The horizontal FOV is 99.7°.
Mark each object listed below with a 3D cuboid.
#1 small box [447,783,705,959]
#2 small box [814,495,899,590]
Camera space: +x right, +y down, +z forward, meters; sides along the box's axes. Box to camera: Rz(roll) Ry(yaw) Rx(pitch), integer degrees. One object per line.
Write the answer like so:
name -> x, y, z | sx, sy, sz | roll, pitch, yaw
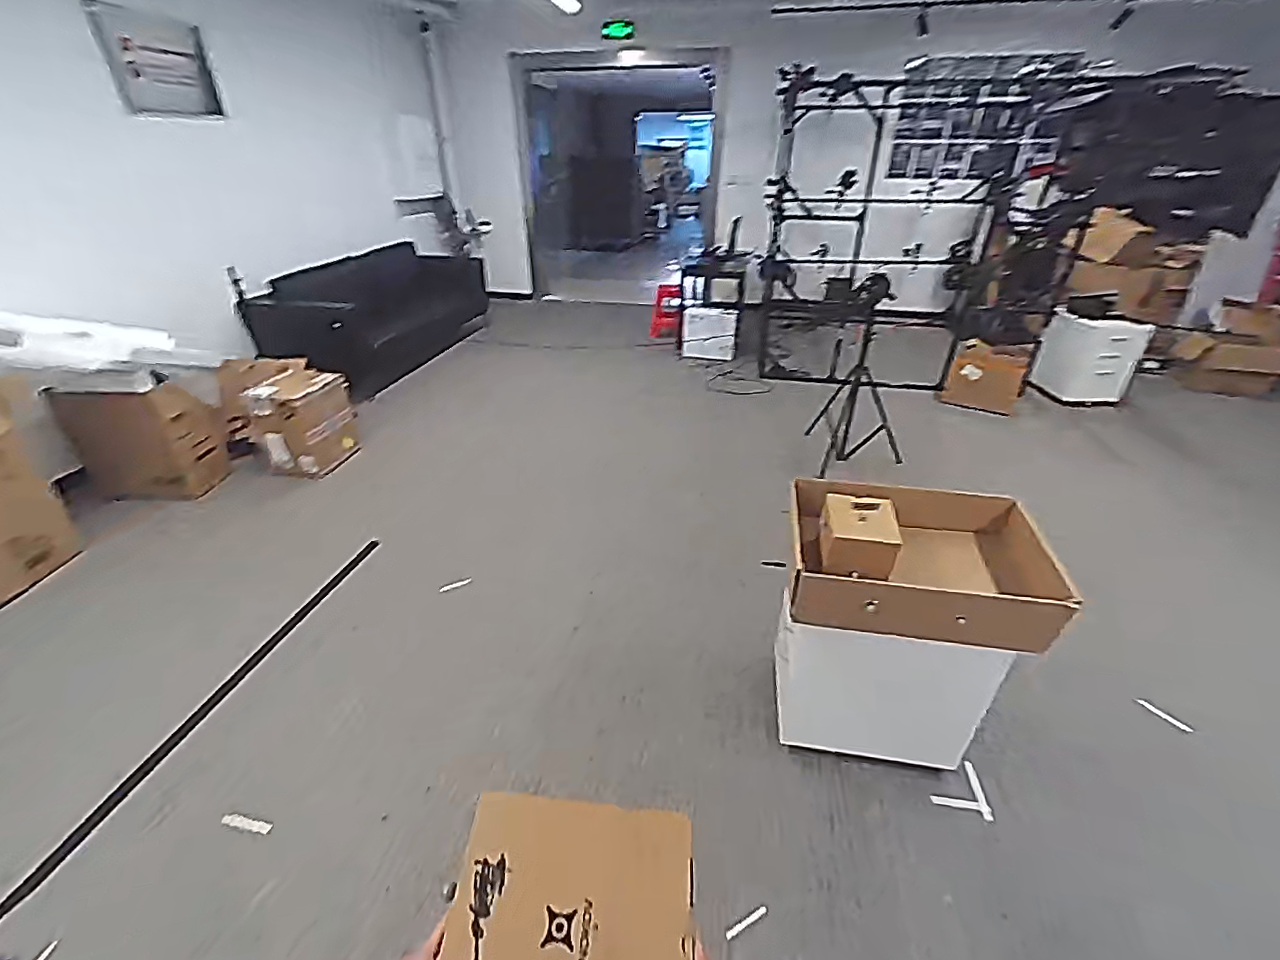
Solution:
small box -> -0.051, 0.372, 0.434 | 0.179, 0.176, 0.168 | 9, 41, -1
small box -> 0.565, 0.164, 1.439 | 0.168, 0.176, 0.179 | 5, 37, 8
